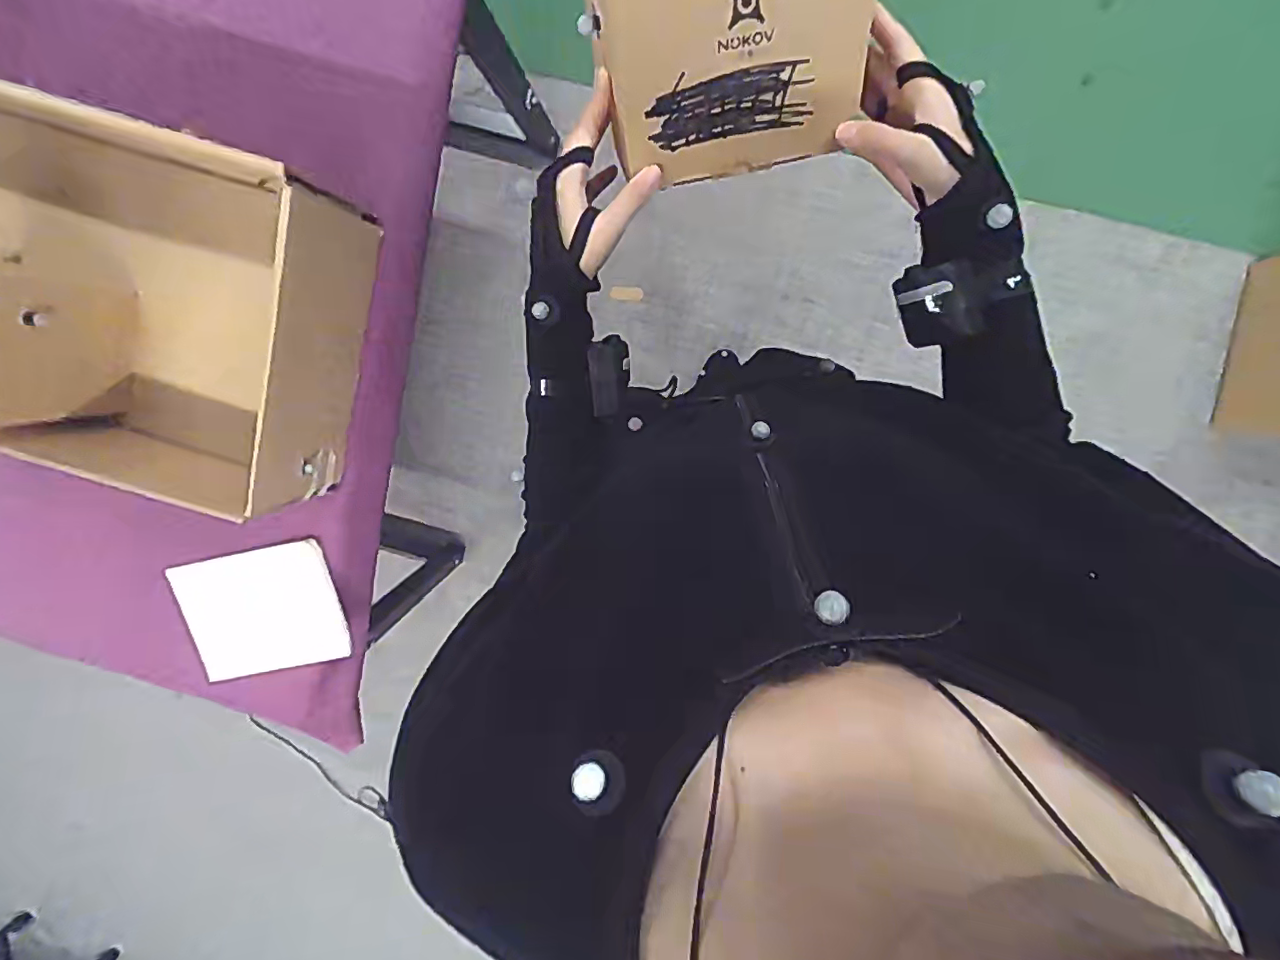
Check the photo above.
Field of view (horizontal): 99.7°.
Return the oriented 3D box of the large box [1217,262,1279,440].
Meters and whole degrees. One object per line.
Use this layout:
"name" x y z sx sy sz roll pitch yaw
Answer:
"large box" 1.597 -0.287 1.181 0.320 0.320 0.408 1 100 3
